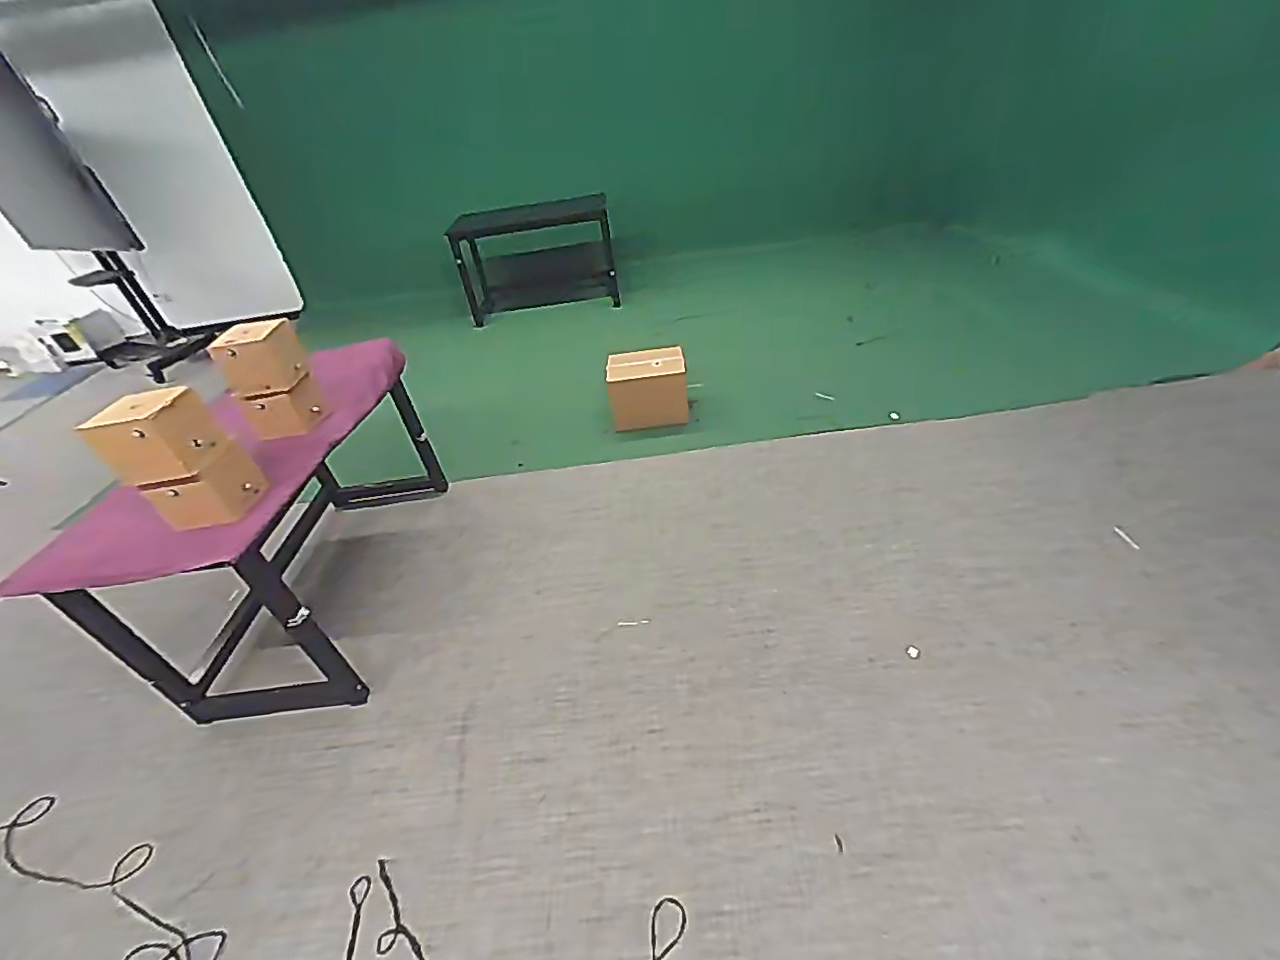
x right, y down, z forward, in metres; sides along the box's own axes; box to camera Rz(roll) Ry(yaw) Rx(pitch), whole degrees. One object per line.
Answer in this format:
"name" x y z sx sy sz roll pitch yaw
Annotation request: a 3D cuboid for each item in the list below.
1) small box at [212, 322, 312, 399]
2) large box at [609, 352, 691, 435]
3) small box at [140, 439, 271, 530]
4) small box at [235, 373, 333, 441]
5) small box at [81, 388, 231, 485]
"small box" -1.157 -0.370 1.675 0.168 0.176 0.179 -8 37 1
"large box" 0.055 -0.466 2.906 0.408 0.320 0.320 -6 37 4
"small box" -1.138 0.015 1.431 0.179 0.176 0.168 -9 37 2
"small box" -1.162 -0.242 1.781 0.179 0.176 0.168 -6 37 4
"small box" -1.168 -0.103 1.323 0.179 0.176 0.168 -9 36 3
